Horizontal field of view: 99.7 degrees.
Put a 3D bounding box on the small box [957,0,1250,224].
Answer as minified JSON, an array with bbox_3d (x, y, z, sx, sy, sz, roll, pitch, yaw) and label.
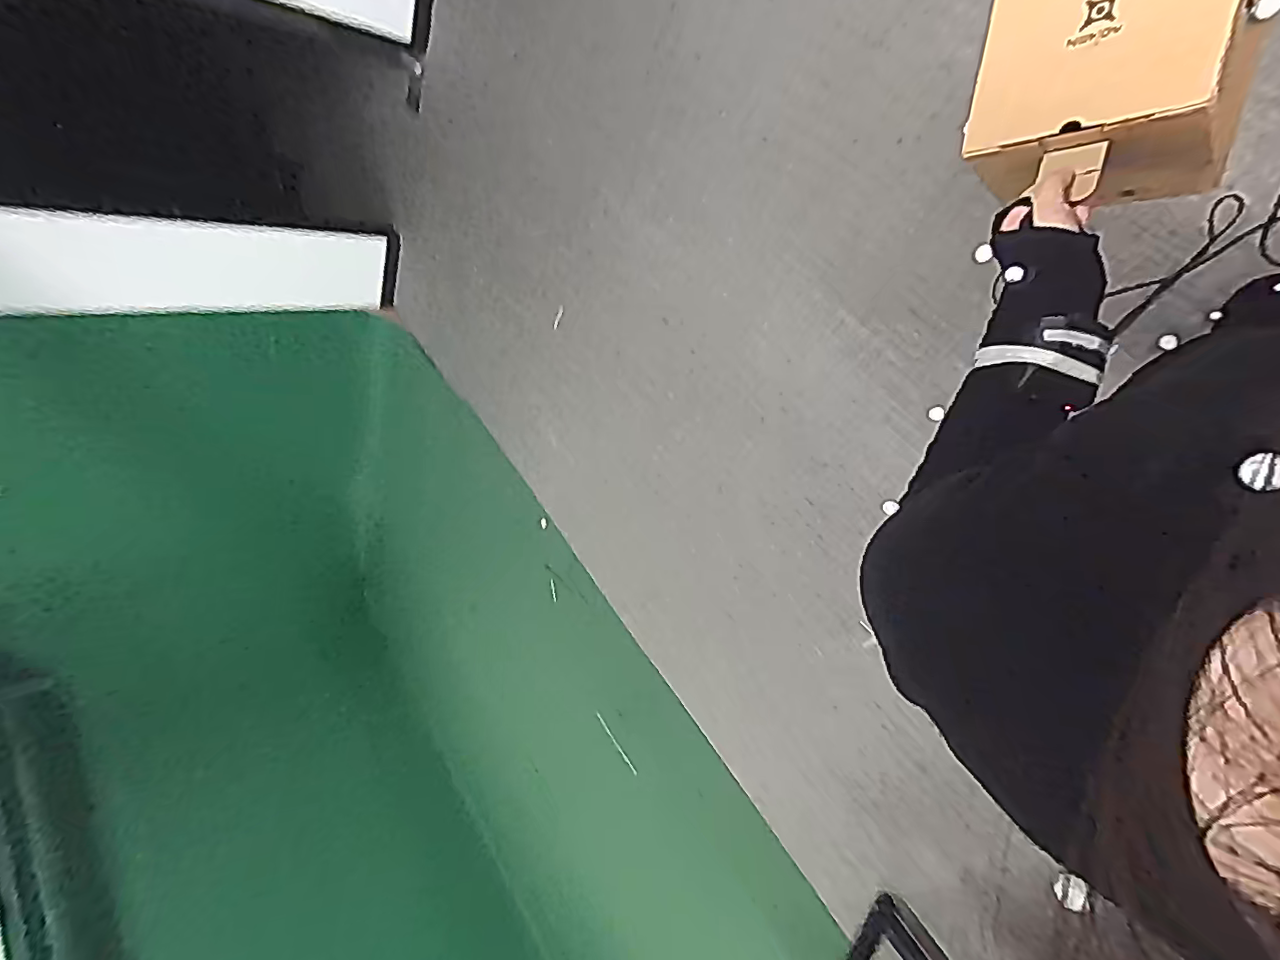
[{"bbox_3d":[0.428,-0.365,0.503,0.168,0.176,0.179,17,102,47],"label":"small box"}]
